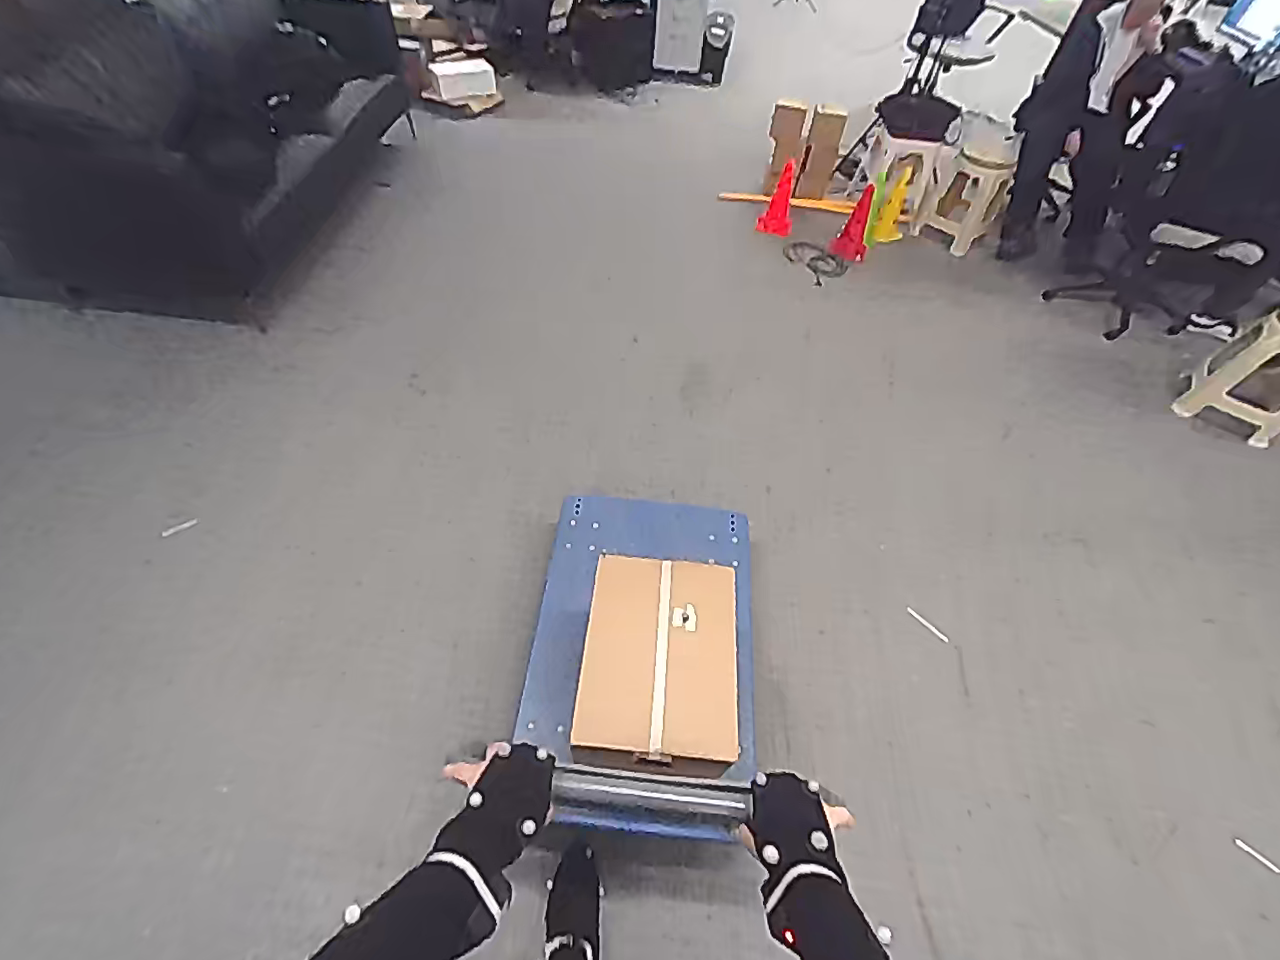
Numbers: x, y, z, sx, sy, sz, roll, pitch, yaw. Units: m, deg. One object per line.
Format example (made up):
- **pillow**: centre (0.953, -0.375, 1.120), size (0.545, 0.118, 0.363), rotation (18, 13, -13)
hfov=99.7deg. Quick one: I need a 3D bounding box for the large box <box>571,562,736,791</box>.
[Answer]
- **large box**: centre (0.030, 0.449, 1.232), size (0.320, 0.320, 0.408), rotation (6, 51, 0)
